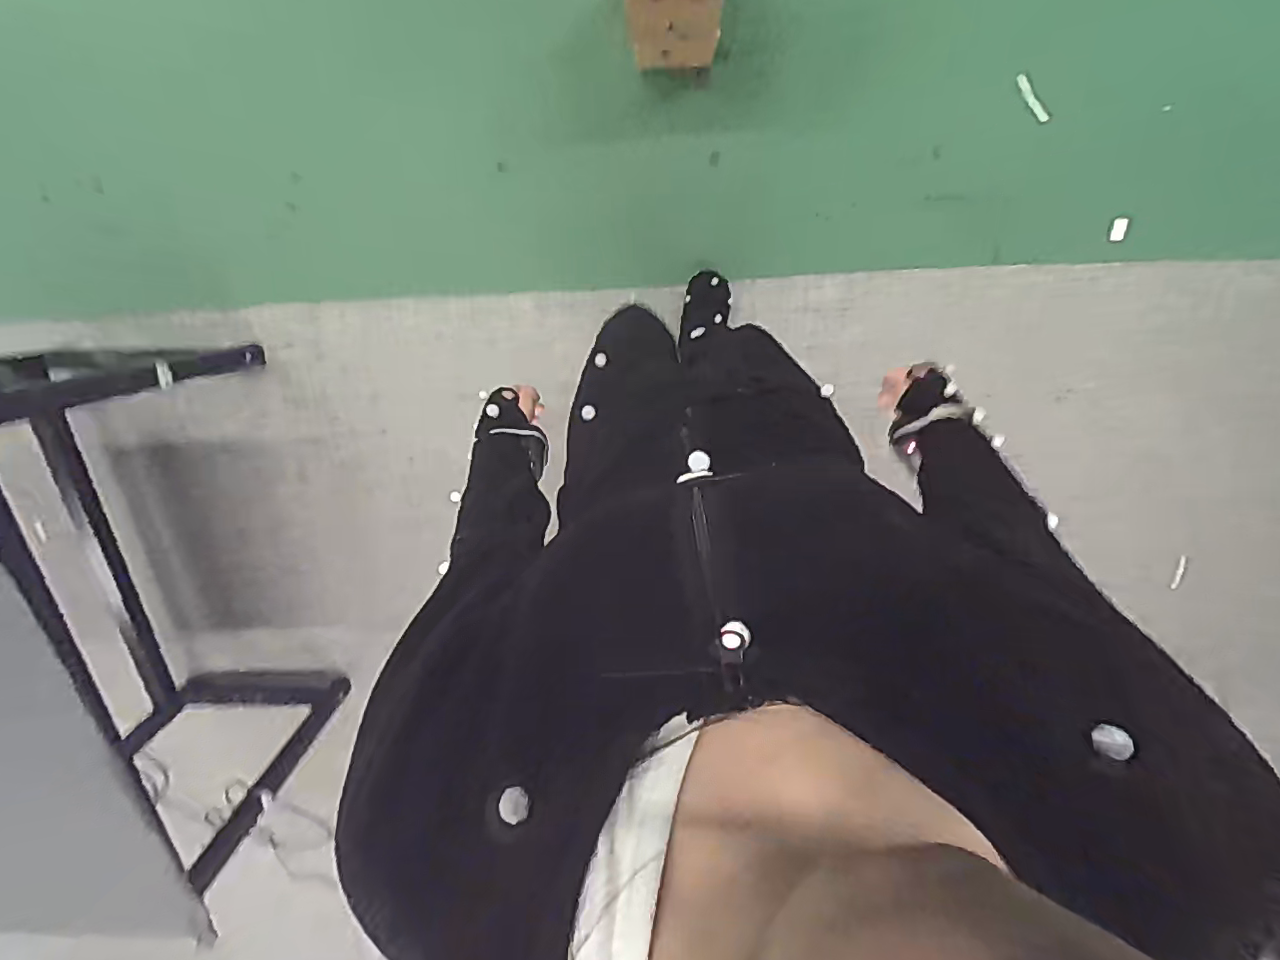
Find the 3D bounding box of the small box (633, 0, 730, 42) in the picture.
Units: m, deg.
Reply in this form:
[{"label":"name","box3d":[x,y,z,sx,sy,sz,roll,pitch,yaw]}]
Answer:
[{"label":"small box","box3d":[0.071,-0.895,0.930,0.168,0.176,0.179,1,111,4]}]

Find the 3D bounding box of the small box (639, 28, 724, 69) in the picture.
[{"label":"small box","box3d":[0.084,-0.954,1.084,0.168,0.176,0.179,-1,110,4]}]
